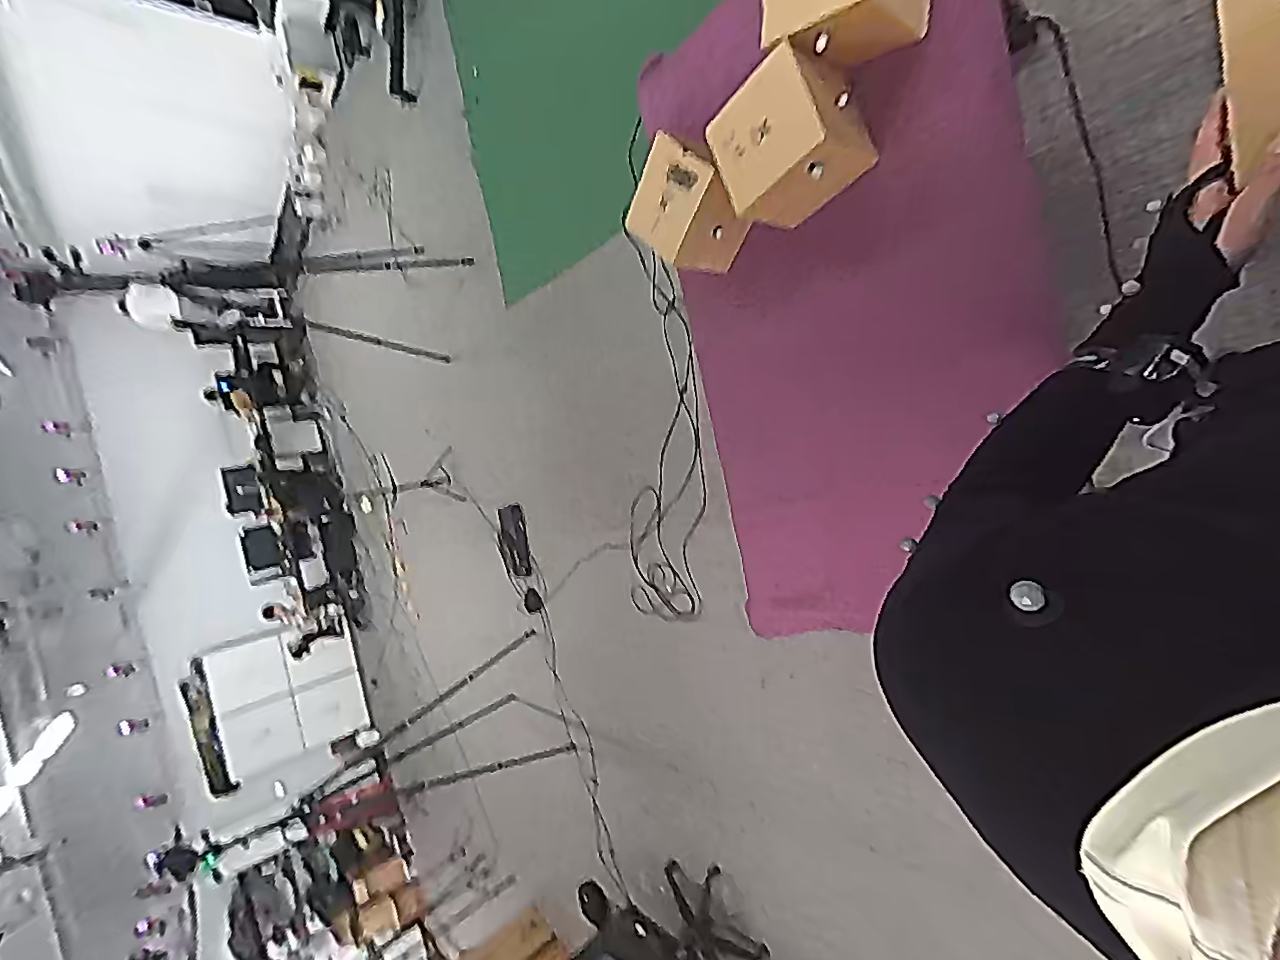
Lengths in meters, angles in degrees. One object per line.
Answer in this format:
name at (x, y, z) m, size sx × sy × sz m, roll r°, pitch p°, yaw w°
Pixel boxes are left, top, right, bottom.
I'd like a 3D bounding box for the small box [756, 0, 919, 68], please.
small box at (0.287, -0.727, 0.768) m, size 0.179 × 0.176 × 0.168 m, roll 17°, pitch 115°, yaw 48°
